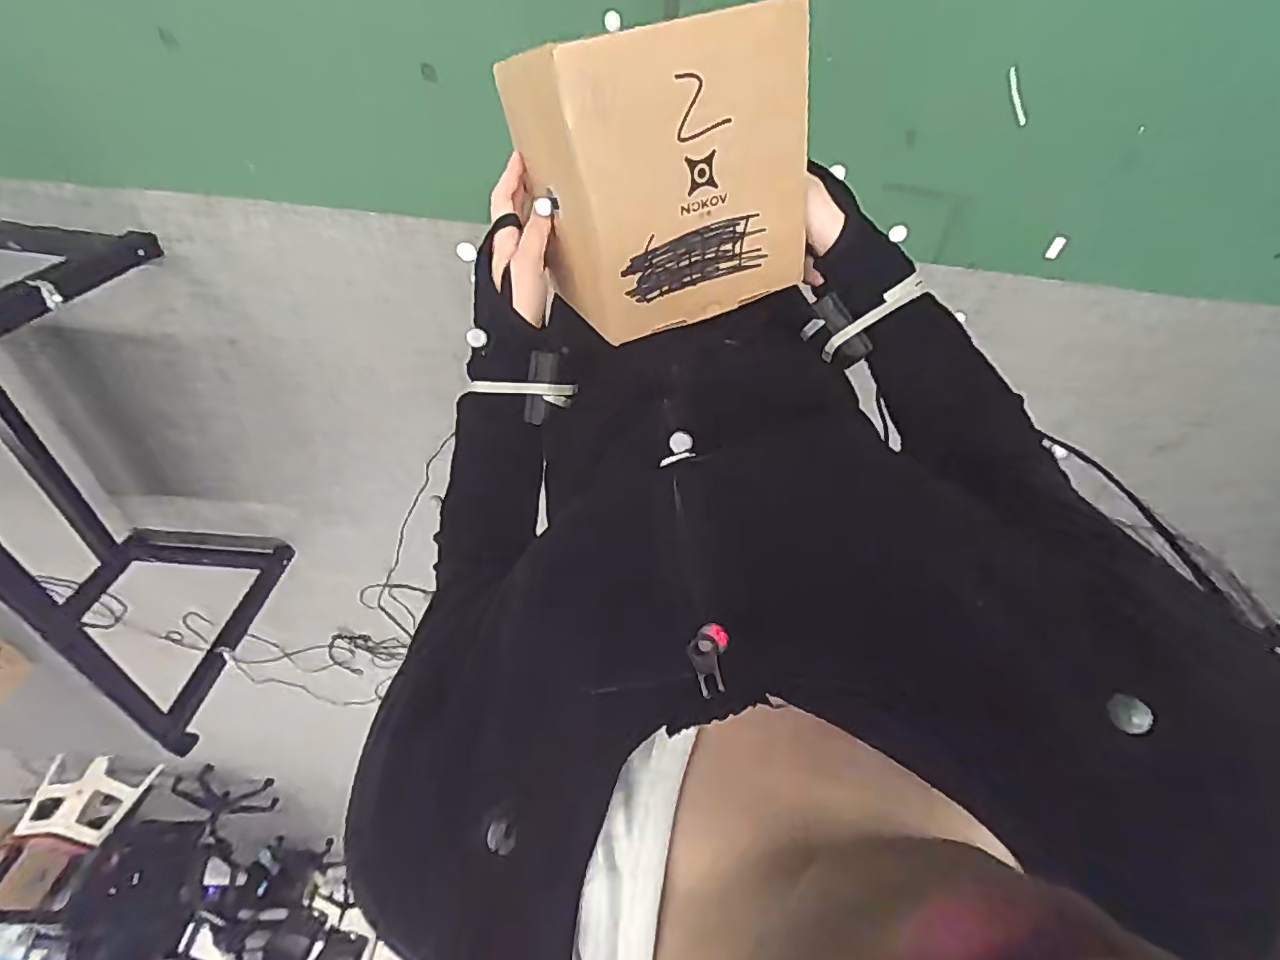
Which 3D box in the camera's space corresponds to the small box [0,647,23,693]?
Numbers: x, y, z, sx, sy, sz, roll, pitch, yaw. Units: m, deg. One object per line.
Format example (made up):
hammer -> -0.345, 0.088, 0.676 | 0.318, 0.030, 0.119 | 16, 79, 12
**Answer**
small box -> -1.406, 0.394, 1.054 | 0.179, 0.176, 0.168 | 6, 131, -4
